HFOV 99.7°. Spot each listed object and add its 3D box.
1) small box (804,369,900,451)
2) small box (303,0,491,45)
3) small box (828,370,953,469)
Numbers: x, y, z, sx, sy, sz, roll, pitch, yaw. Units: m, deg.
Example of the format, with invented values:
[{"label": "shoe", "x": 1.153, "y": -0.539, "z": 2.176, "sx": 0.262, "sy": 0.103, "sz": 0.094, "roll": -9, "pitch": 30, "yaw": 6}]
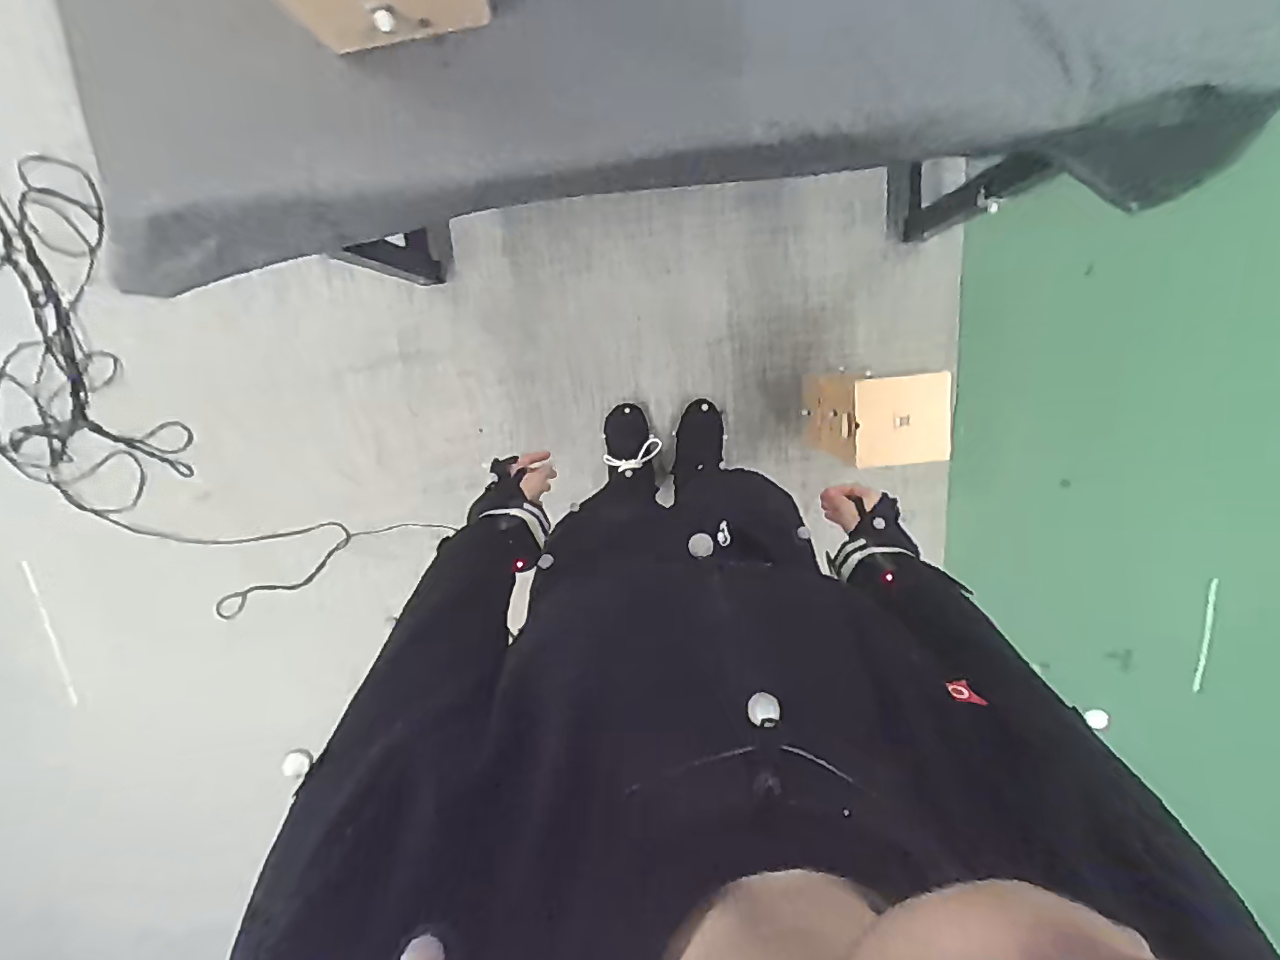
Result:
[{"label": "small box", "x": 0.474, "y": -0.160, "z": 1.226, "sx": 0.179, "sy": 0.176, "sz": 0.168, "roll": -4, "pitch": 101, "yaw": 4}, {"label": "small box", "x": -0.238, "y": -0.511, "z": 0.443, "sx": 0.168, "sy": 0.176, "sz": 0.179, "roll": -7, "pitch": 102, "yaw": 4}, {"label": "small box", "x": 0.485, "y": -0.125, "z": 1.064, "sx": 0.179, "sy": 0.176, "sz": 0.168, "roll": -6, "pitch": 102, "yaw": 4}]
